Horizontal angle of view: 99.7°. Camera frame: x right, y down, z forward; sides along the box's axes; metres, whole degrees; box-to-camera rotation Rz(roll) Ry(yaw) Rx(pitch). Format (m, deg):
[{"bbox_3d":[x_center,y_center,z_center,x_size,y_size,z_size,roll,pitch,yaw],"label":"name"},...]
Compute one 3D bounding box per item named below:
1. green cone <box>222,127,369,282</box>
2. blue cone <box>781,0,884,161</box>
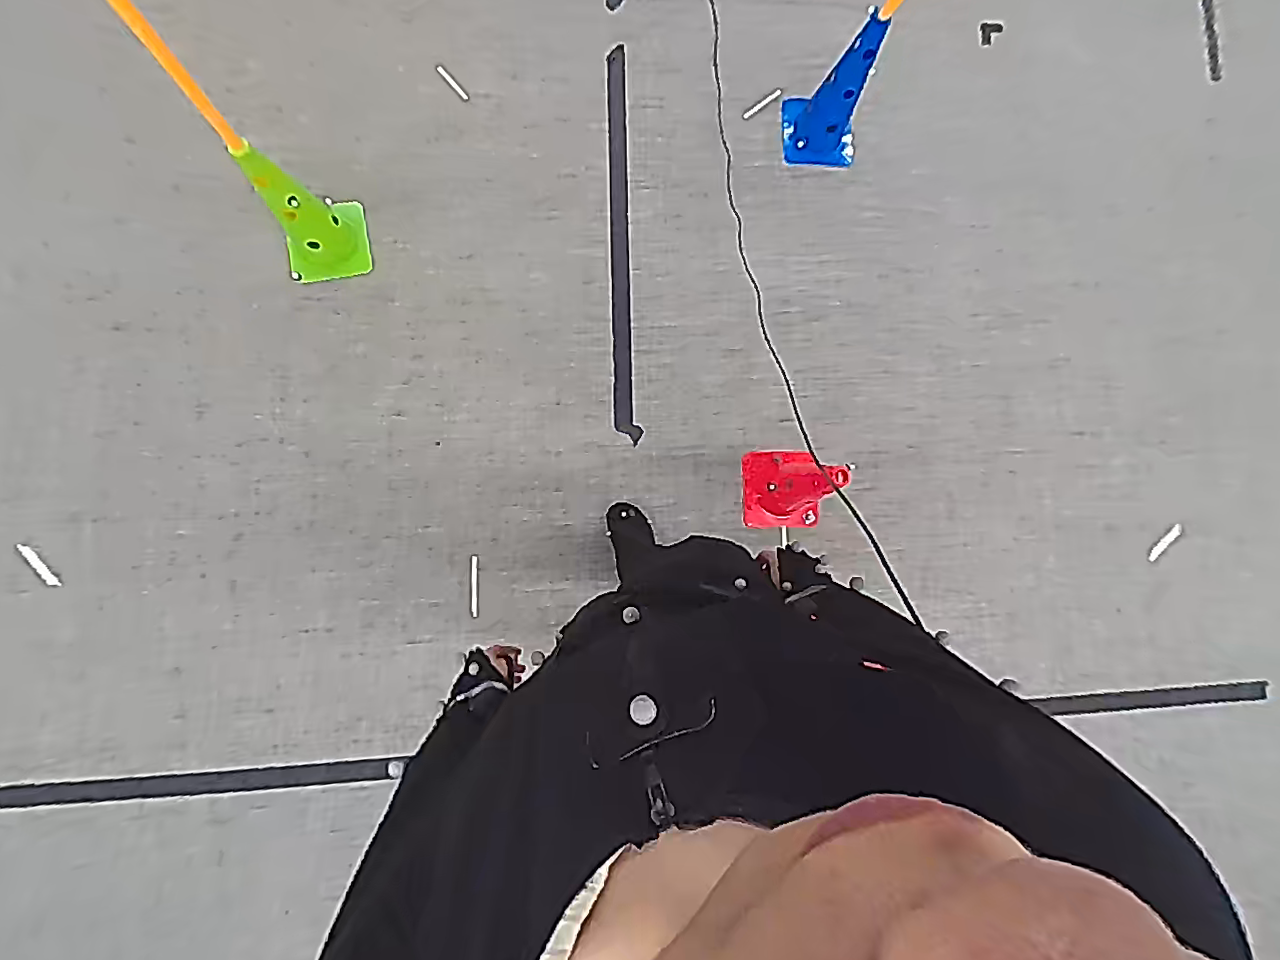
[{"bbox_3d":[-0.795,-0.635,1.218,0.200,0.368,0.202,-12,84,-6],"label":"green cone"},{"bbox_3d":[0.508,-1.012,1.371,0.193,0.380,0.192,1,84,-5],"label":"blue cone"}]
